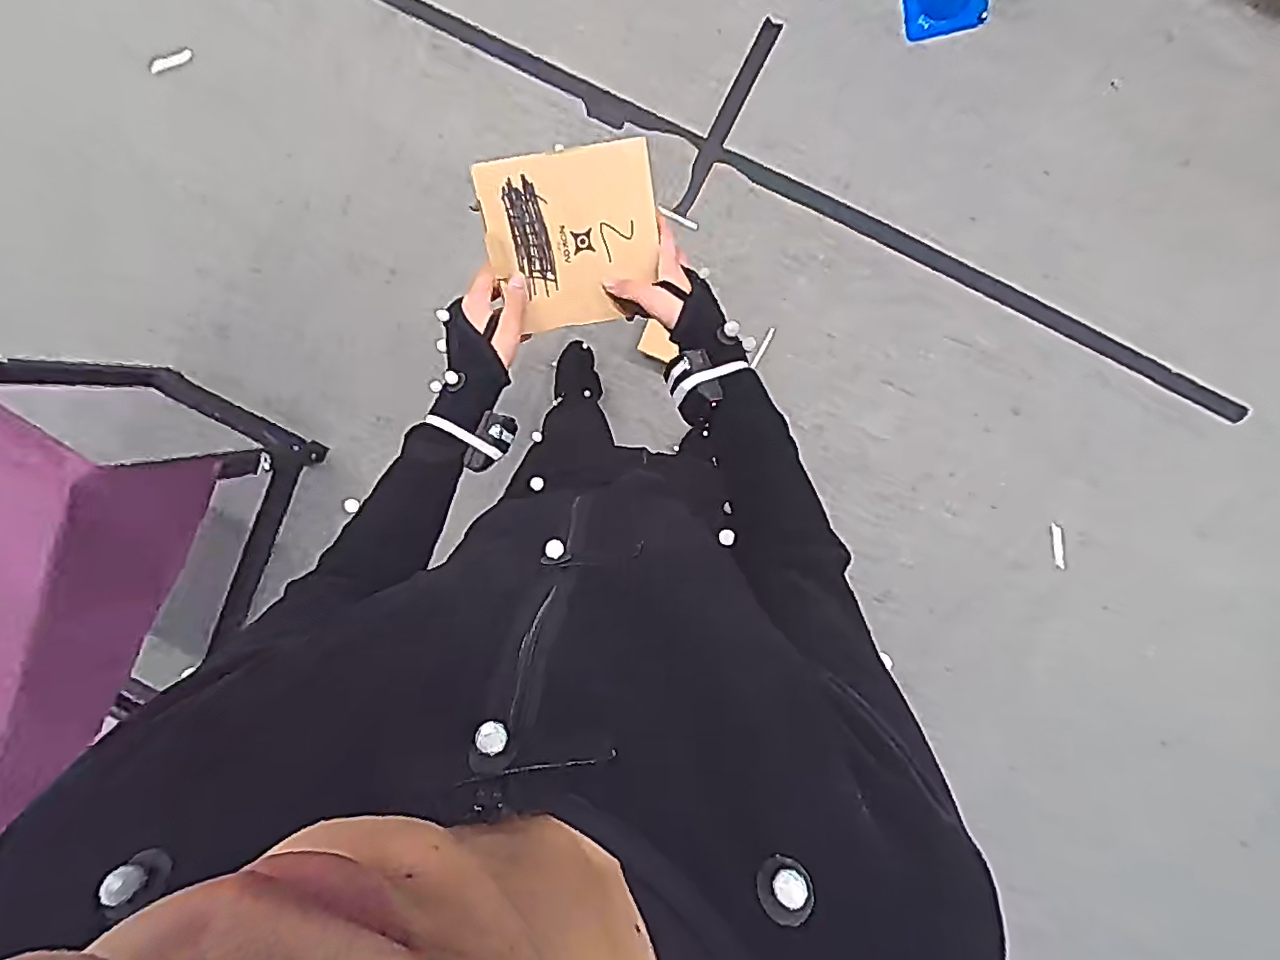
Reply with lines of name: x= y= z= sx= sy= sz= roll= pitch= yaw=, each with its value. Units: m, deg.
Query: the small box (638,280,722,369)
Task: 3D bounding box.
small box: x=0.110 y=-0.409 z=1.454 sx=0.168 sy=0.176 sz=0.179 roll=24 pitch=100 yaw=1
